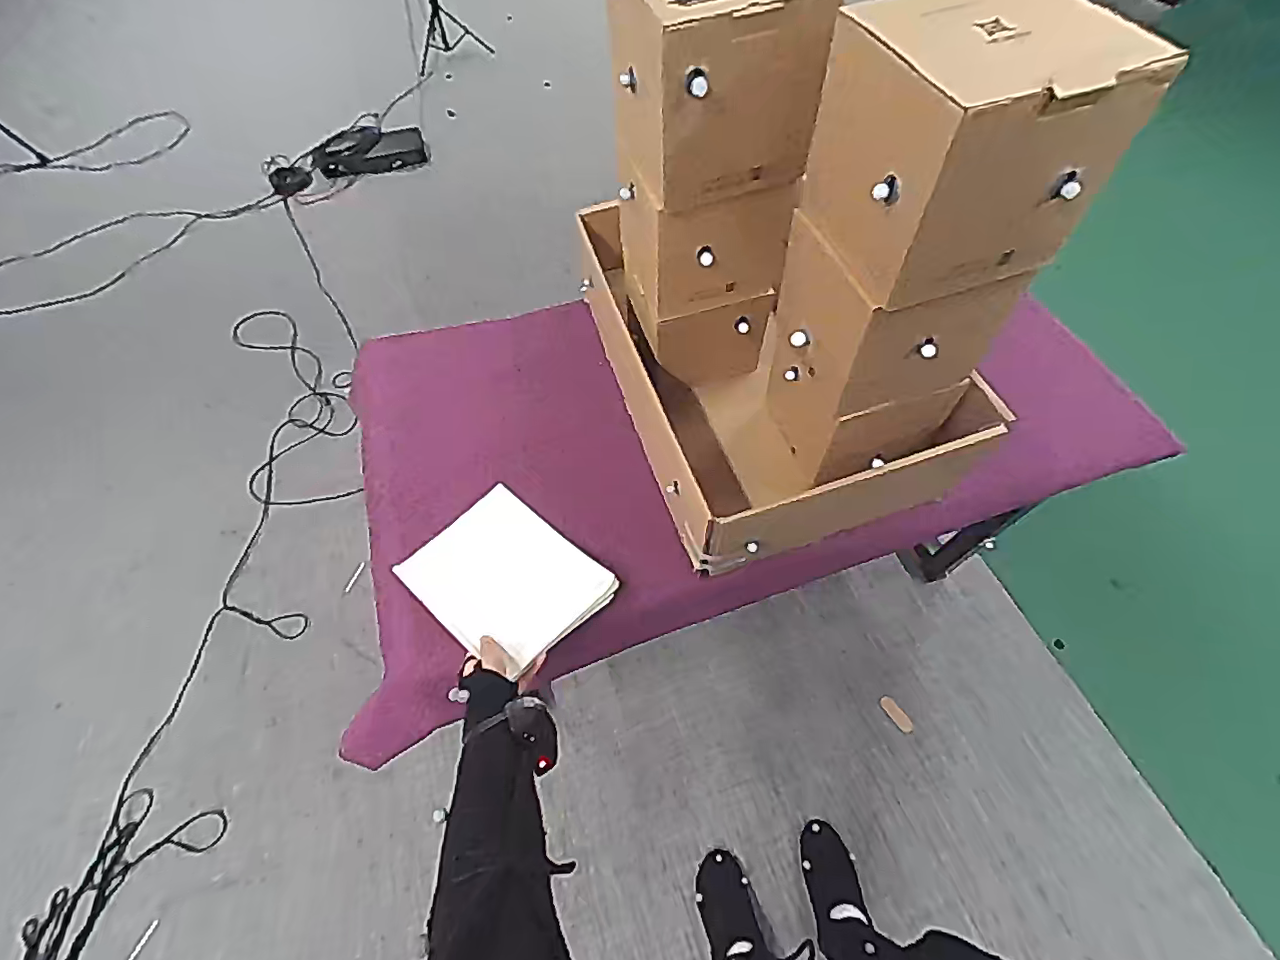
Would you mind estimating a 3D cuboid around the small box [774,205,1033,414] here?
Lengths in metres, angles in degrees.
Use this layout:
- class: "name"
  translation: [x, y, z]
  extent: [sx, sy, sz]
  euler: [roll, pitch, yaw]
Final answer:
- class: "small box"
  translation: [0.268, -0.202, 0.603]
  extent: [0.179, 0.176, 0.168]
  euler: [-17, 59, -4]

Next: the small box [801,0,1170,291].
- class: "small box"
  translation: [0.259, -0.285, 0.463]
  extent: [0.168, 0.176, 0.179]
  euler: [-16, 58, -5]

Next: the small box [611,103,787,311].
- class: "small box"
  translation: [0.070, -0.343, 0.705]
  extent: [0.168, 0.176, 0.179]
  euler: [-16, 61, -6]
